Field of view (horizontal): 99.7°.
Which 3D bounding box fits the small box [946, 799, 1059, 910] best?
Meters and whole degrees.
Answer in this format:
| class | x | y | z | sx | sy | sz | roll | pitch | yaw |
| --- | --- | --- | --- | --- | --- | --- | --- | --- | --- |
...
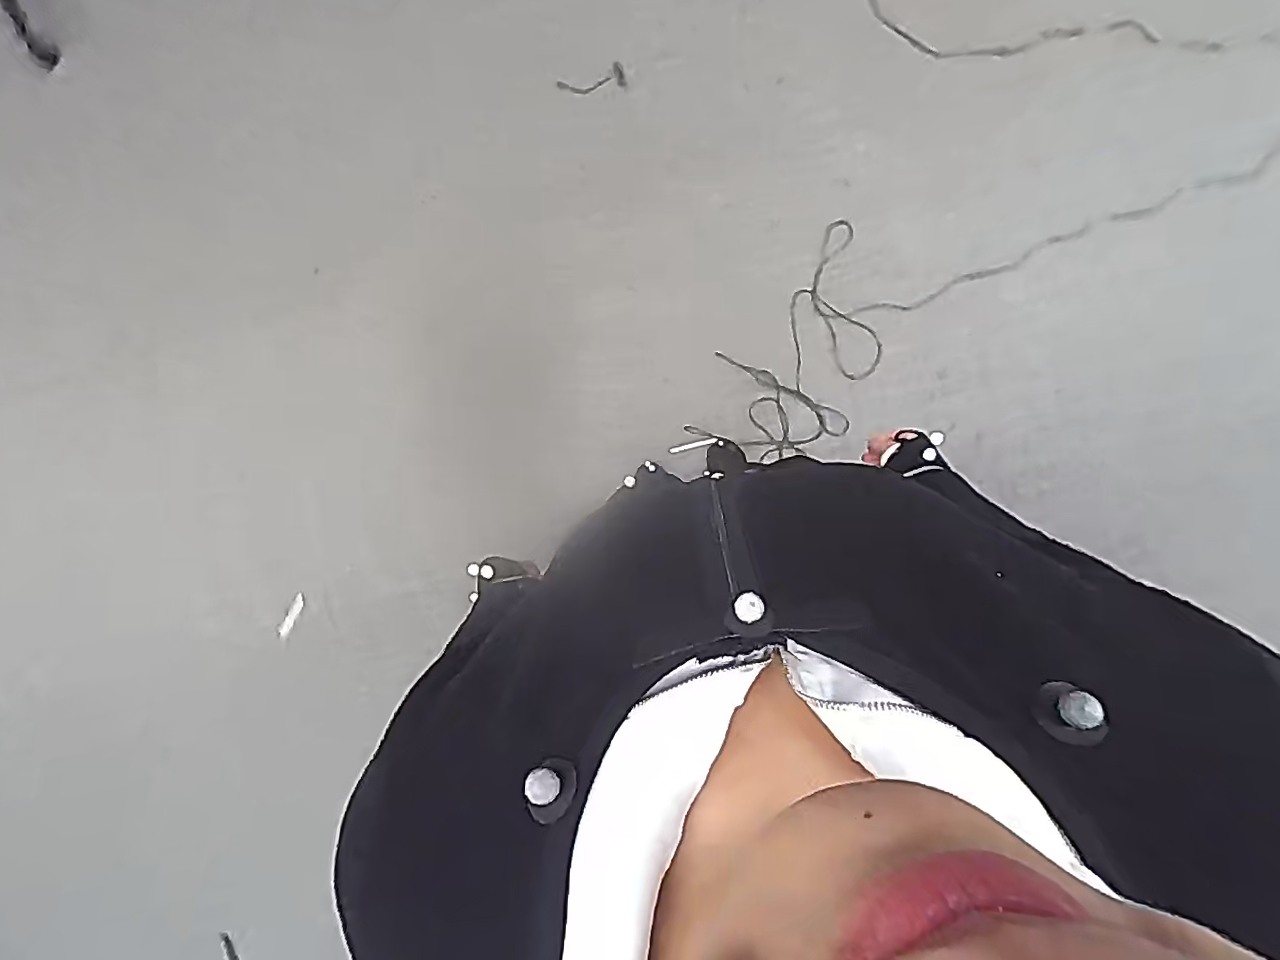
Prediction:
| class | x | y | z | sx | sy | sz | roll | pitch | yaw |
| --- | --- | --- | --- | --- | --- | --- | --- | --- | --- |
| small box | 0.953 | 0.984 | 1.435 | 0.179 | 0.176 | 0.168 | -16 | 93 | 8 |
